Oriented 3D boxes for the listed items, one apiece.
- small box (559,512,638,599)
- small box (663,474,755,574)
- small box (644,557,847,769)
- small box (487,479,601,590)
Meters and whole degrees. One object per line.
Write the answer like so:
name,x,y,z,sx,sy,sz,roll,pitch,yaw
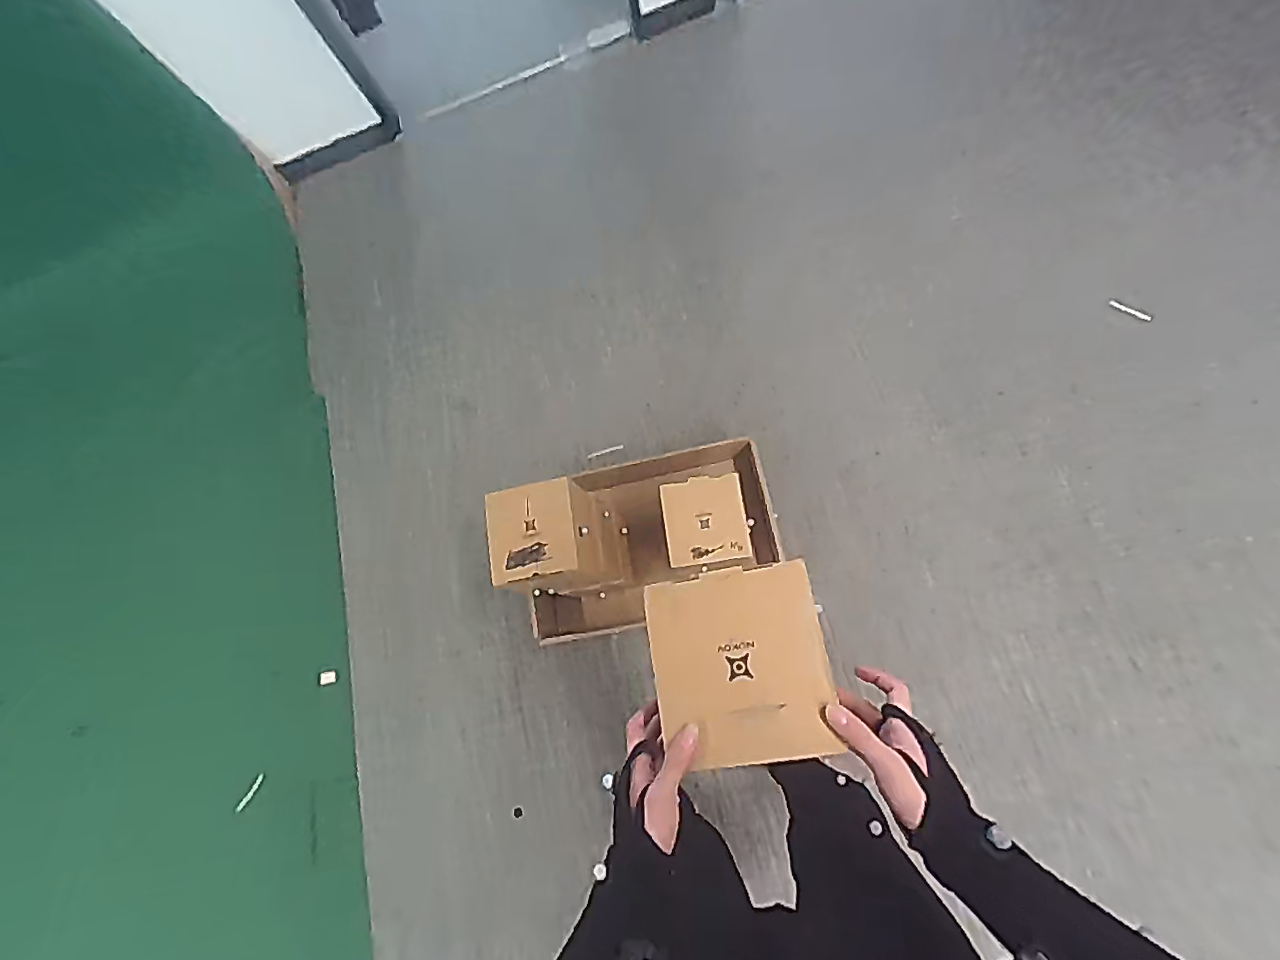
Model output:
small box,-0.109,0.196,1.365,0.168,0.176,0.179,-12,73,8
small box,0.149,0.103,1.164,0.168,0.176,0.179,-10,74,9
small box,0.107,0.195,0.583,0.168,0.176,0.179,-11,69,9
small box,-0.181,0.115,1.055,0.168,0.176,0.179,-12,72,8
